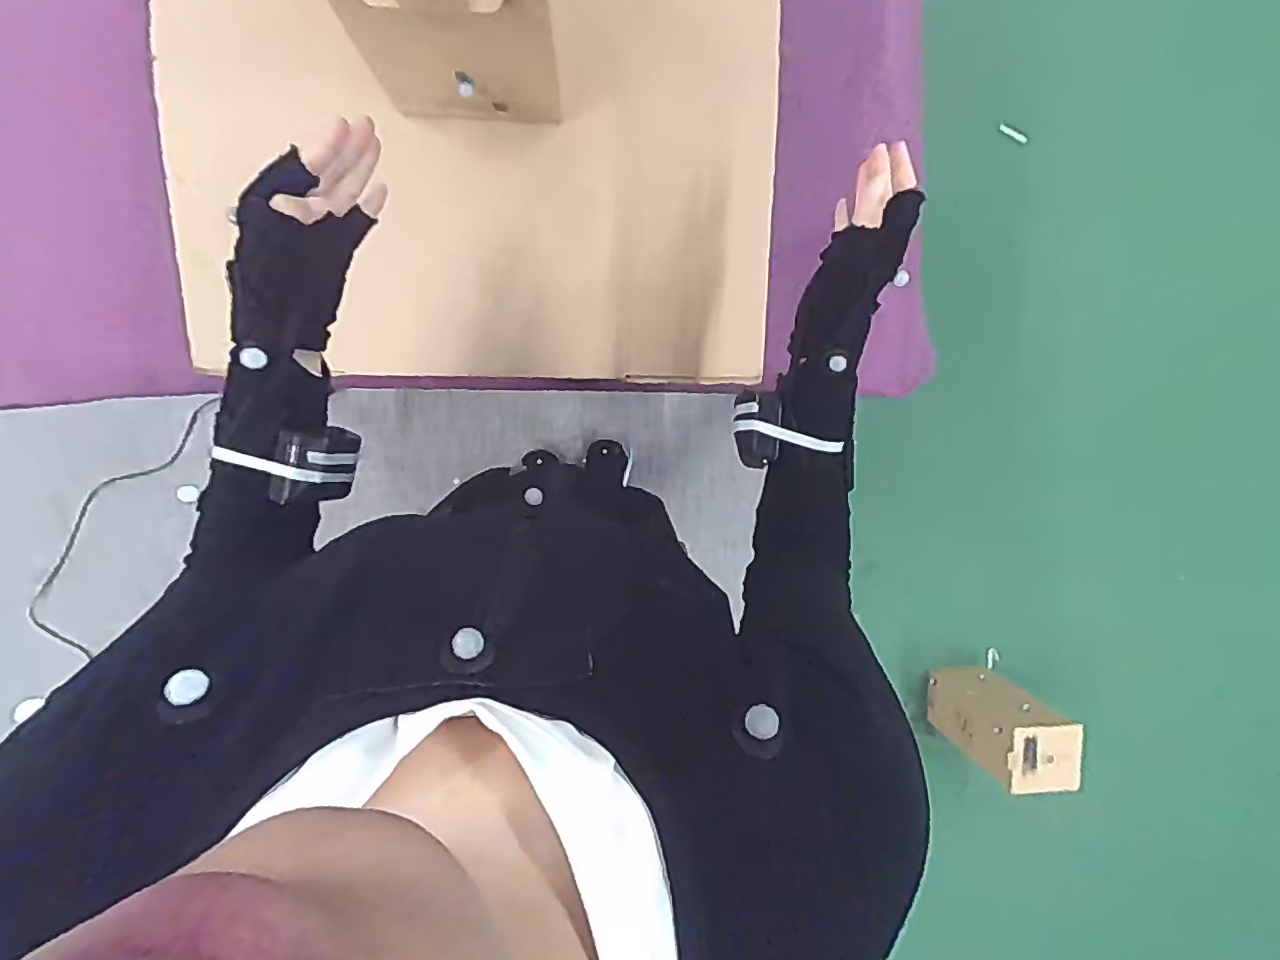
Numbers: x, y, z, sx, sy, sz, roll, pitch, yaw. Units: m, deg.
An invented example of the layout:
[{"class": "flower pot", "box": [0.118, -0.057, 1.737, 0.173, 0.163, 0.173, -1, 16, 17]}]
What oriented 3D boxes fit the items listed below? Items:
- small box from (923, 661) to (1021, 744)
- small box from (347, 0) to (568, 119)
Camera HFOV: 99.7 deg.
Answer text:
[{"class": "small box", "box": [0.936, 0.627, 1.539, 0.179, 0.176, 0.168, 0, 96, -5]}, {"class": "small box", "box": [-0.150, -0.445, 0.451, 0.168, 0.176, 0.179, 1, 94, -3]}]
